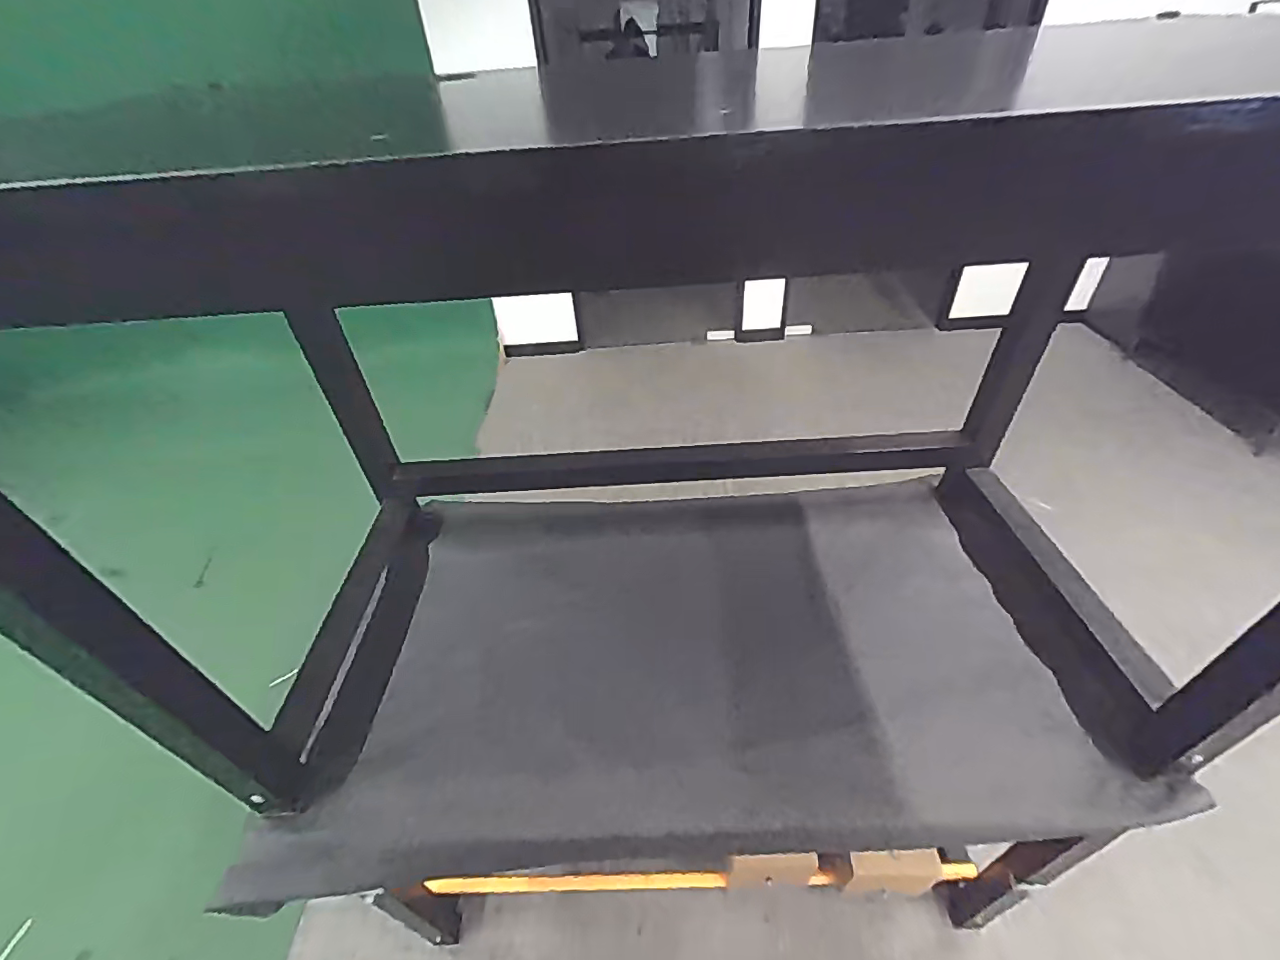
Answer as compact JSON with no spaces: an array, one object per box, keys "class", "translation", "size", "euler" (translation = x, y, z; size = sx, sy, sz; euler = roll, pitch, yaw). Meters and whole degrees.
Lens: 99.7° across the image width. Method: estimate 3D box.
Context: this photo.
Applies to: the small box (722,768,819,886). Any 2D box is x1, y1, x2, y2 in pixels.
[{"class":"small box","translation":[0.264,0.732,1.134],"size":[0.168,0.176,0.179],"euler":[-4,41,2]}]
